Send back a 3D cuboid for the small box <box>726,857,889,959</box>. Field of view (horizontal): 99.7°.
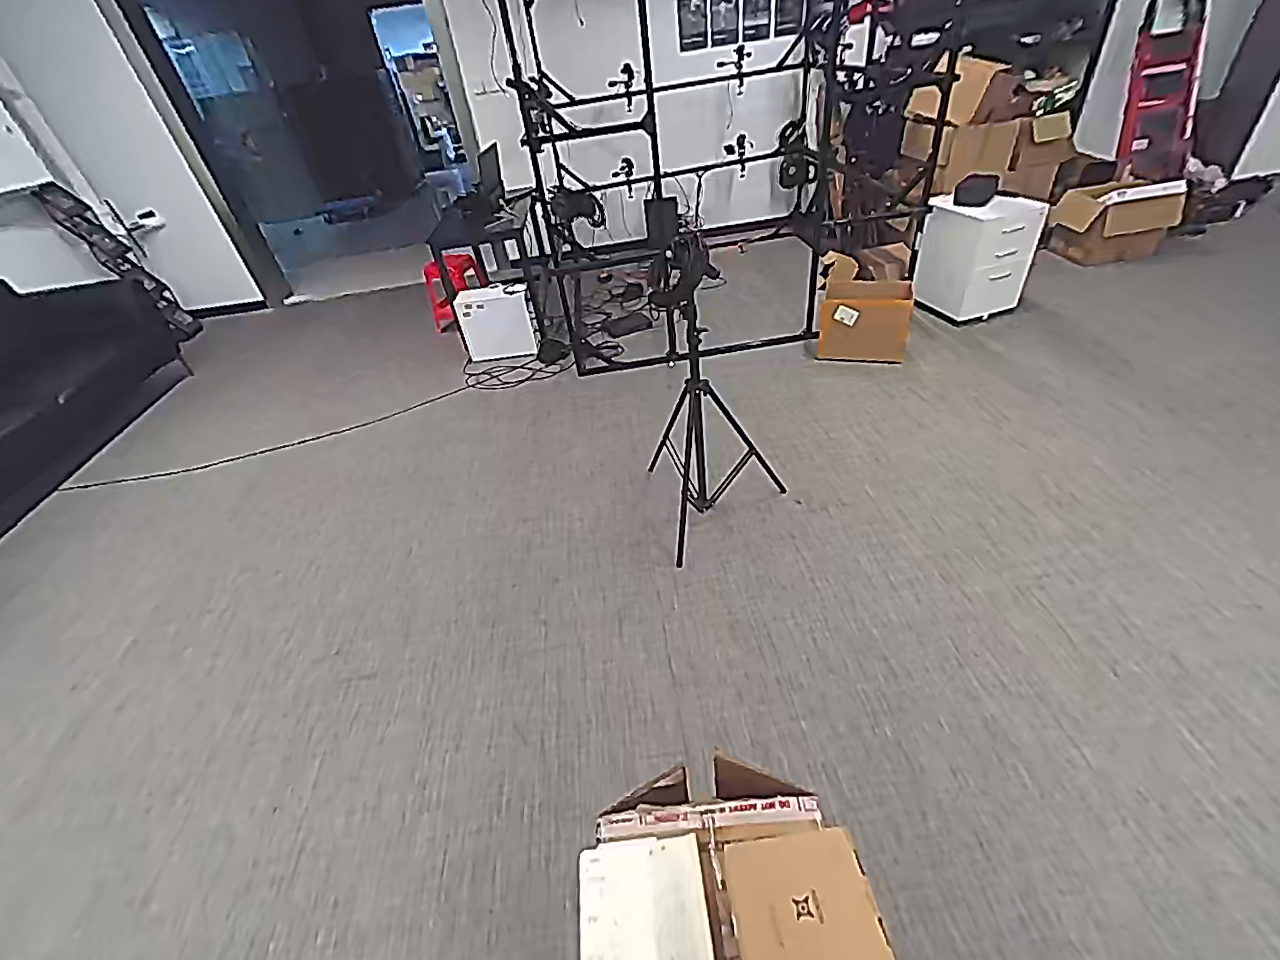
[{"bbox_3d":[0.218,0.638,0.725,0.179,0.176,0.168,-9,40,-2],"label":"small box"}]
